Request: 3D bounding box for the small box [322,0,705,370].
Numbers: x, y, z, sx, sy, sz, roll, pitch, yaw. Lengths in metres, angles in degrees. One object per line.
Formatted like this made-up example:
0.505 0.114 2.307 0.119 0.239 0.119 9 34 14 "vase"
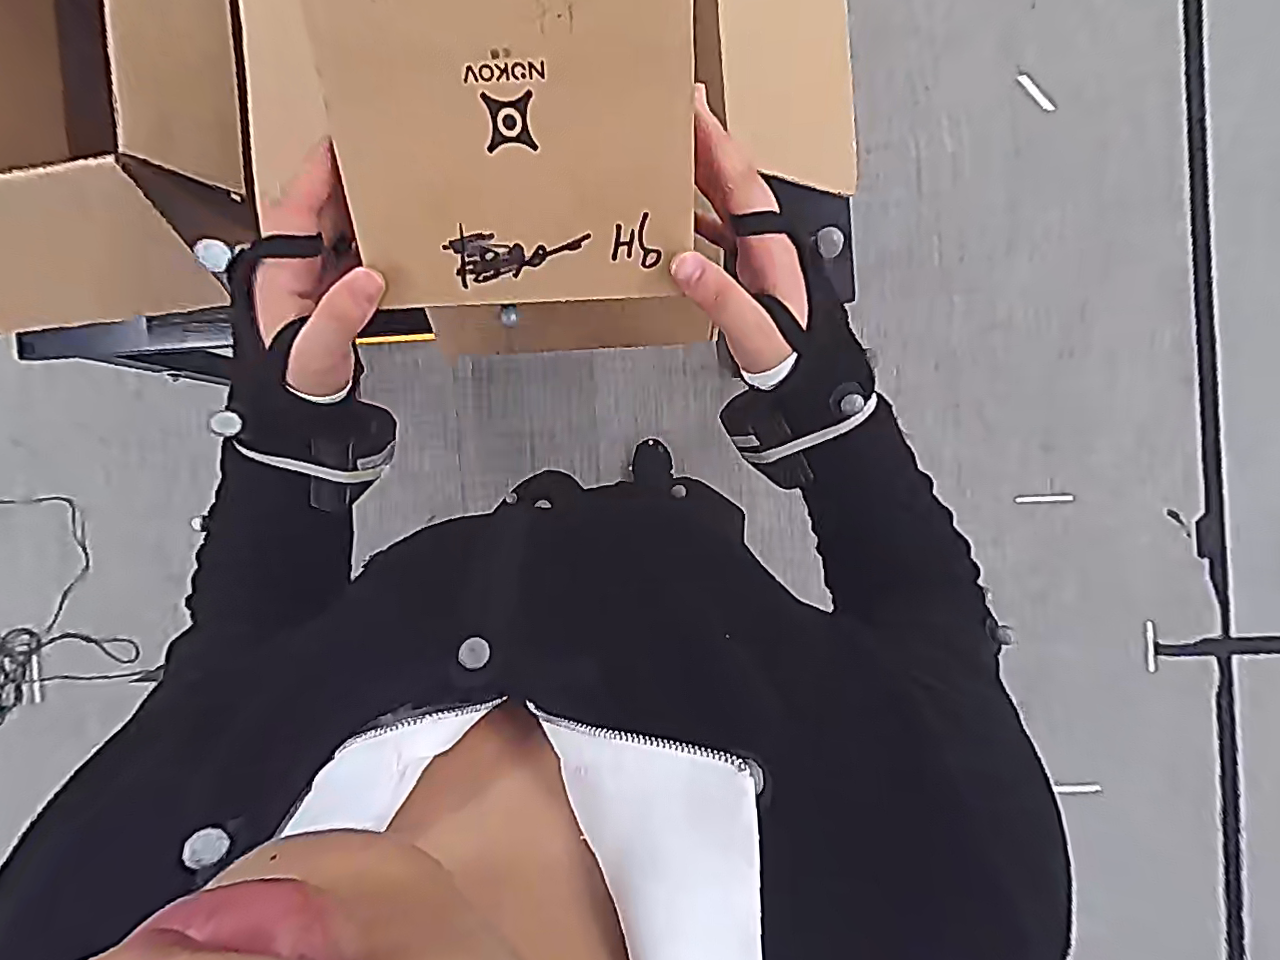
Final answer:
-0.054 -0.171 0.330 0.168 0.176 0.179 -2 113 0 "small box"
